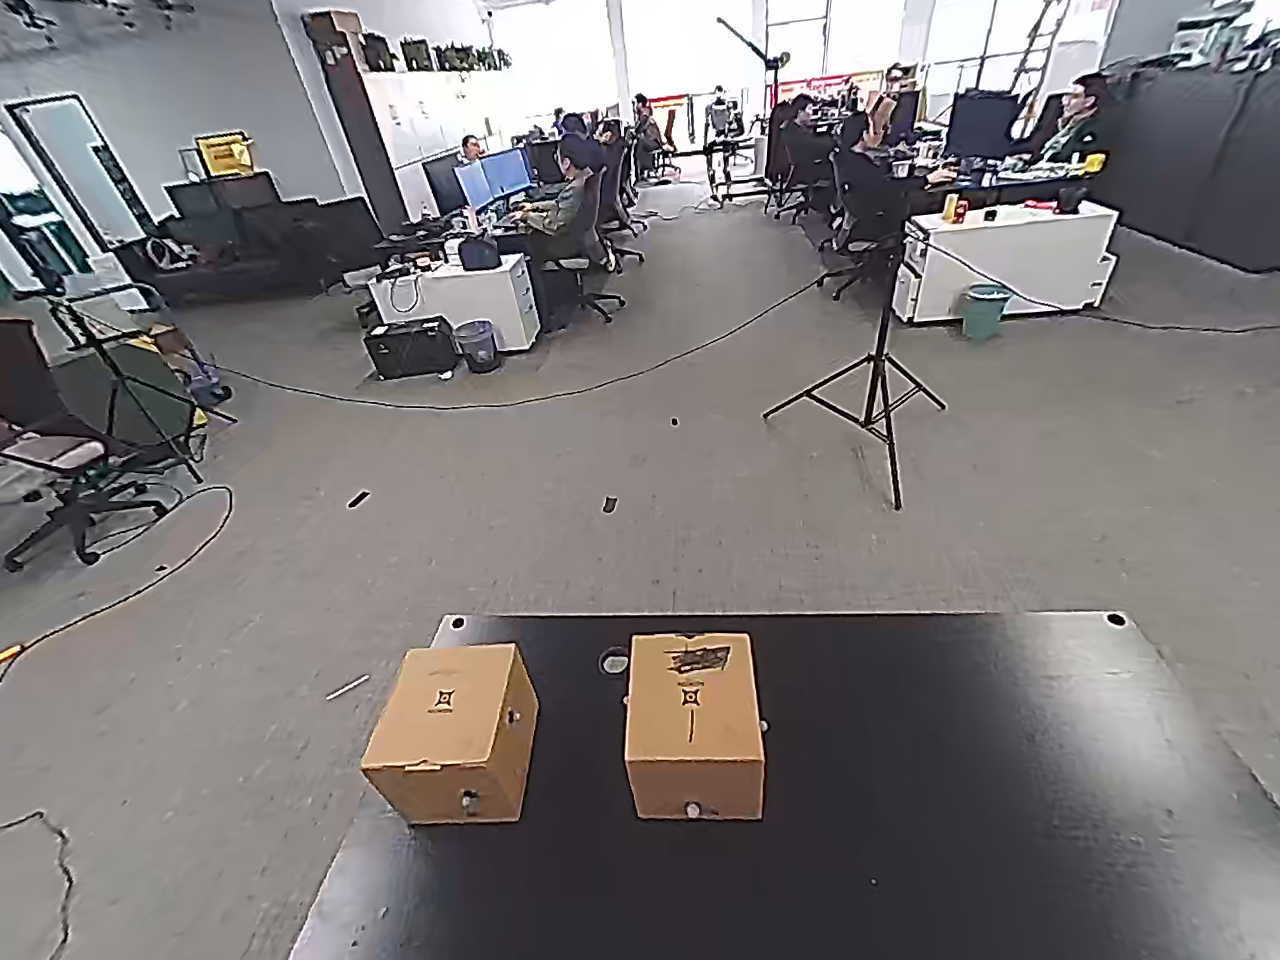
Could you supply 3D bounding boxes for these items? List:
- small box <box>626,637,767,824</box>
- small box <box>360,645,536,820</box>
[{"bbox_3d":[0.077,0.337,0.738,0.168,0.176,0.179,-3,38,6],"label":"small box"},{"bbox_3d":[-0.254,0.360,0.767,0.168,0.176,0.179,-3,36,3],"label":"small box"}]
